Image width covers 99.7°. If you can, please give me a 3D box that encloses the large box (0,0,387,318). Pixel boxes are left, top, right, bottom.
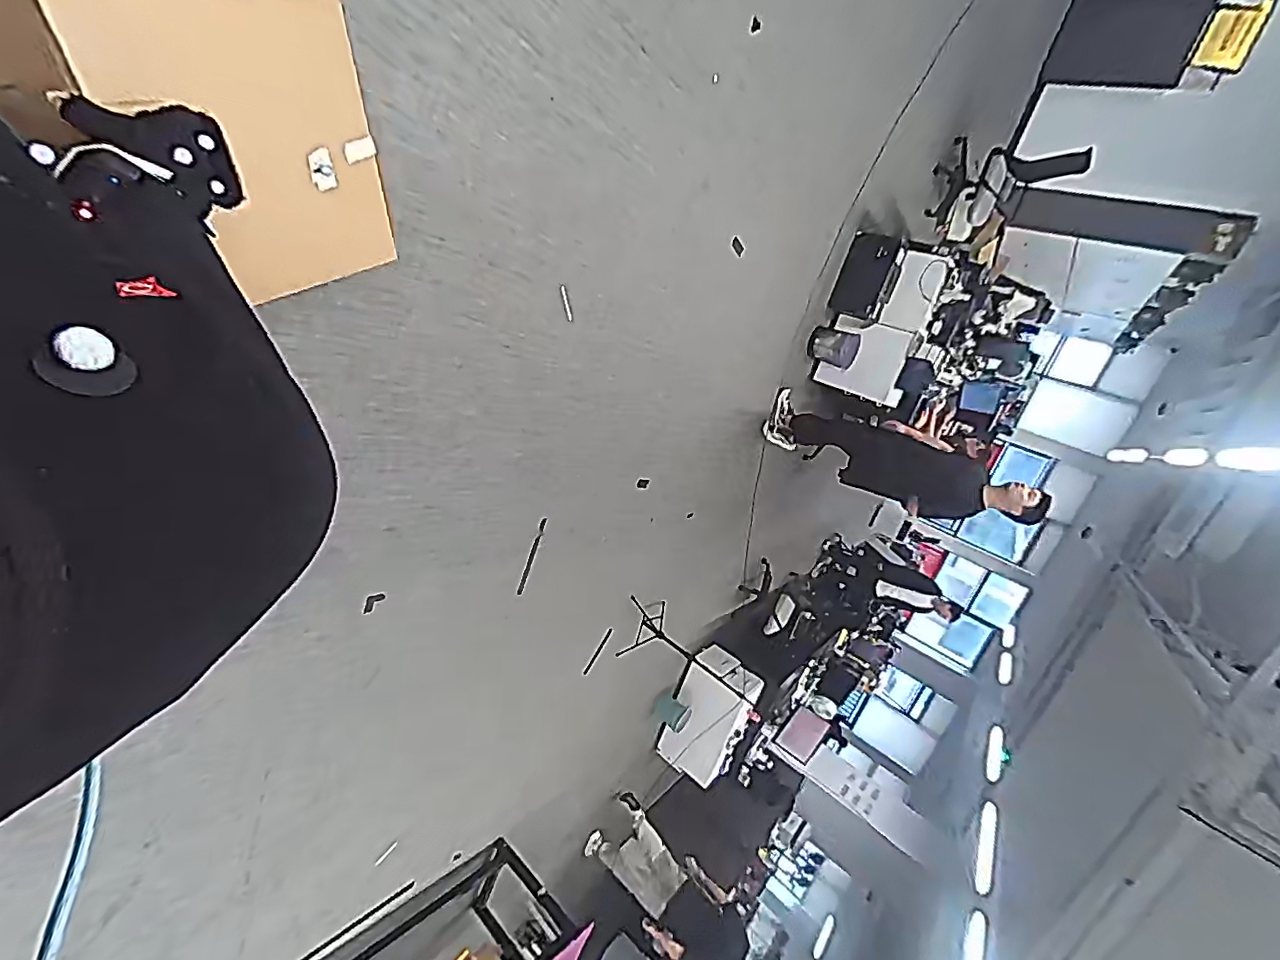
[{"bbox_3d":[-0.624,-0.445,0.708,0.320,0.408,0.320,-48,151,-46],"label":"large box"}]
